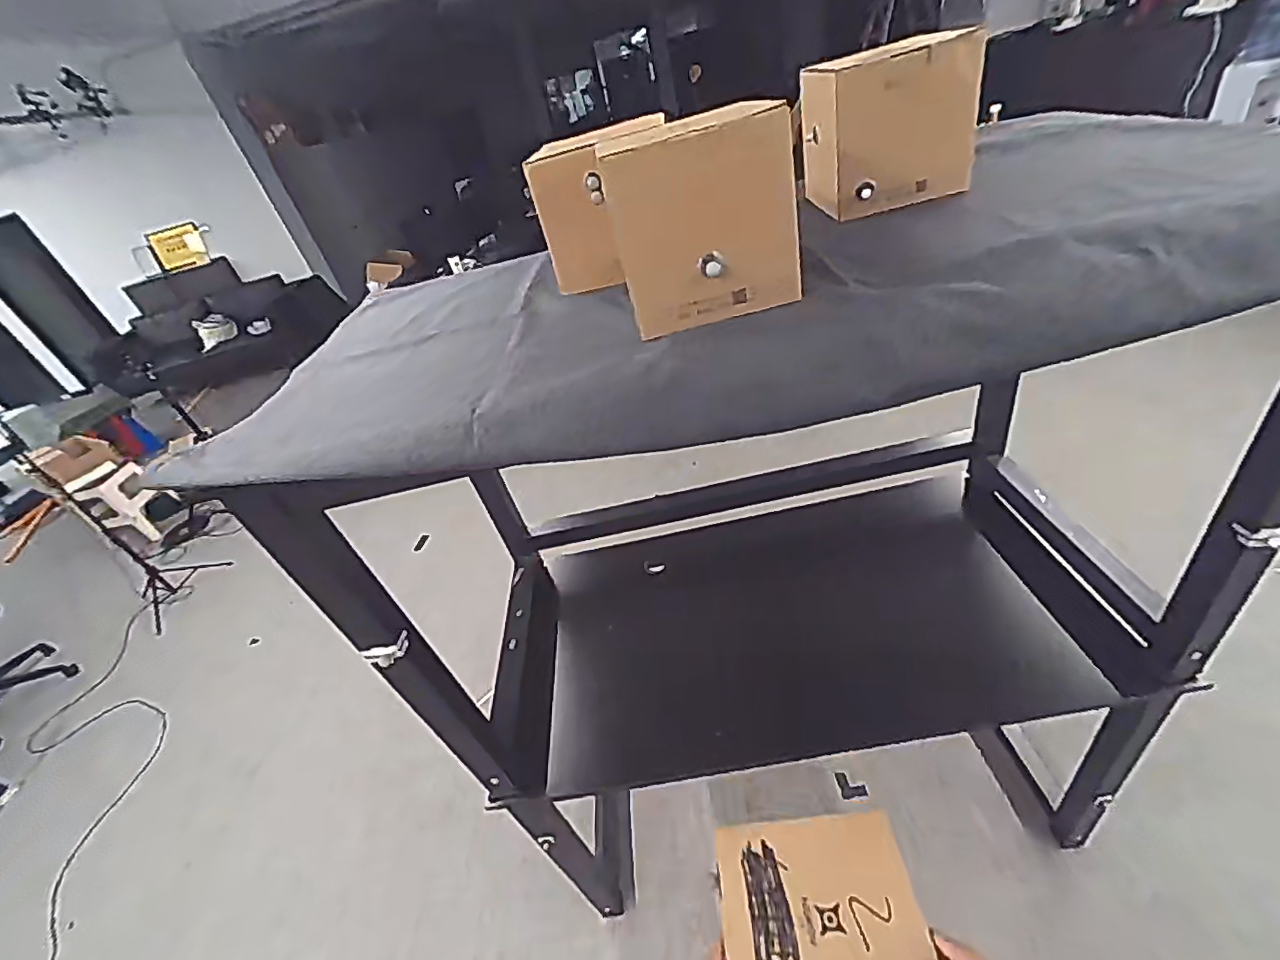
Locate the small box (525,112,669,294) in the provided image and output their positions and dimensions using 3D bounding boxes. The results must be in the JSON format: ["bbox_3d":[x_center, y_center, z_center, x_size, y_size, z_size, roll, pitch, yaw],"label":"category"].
[{"bbox_3d":[-0.032,-0.376,0.739,0.179,0.176,0.168,-10,37,10],"label":"small box"}]

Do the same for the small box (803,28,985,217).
[{"bbox_3d":[0.323,-0.466,0.718,0.168,0.176,0.179,-11,36,8],"label":"small box"}]

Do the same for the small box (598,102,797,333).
[{"bbox_3d":[0.056,-0.272,0.563,0.168,0.176,0.179,-13,36,4],"label":"small box"}]
